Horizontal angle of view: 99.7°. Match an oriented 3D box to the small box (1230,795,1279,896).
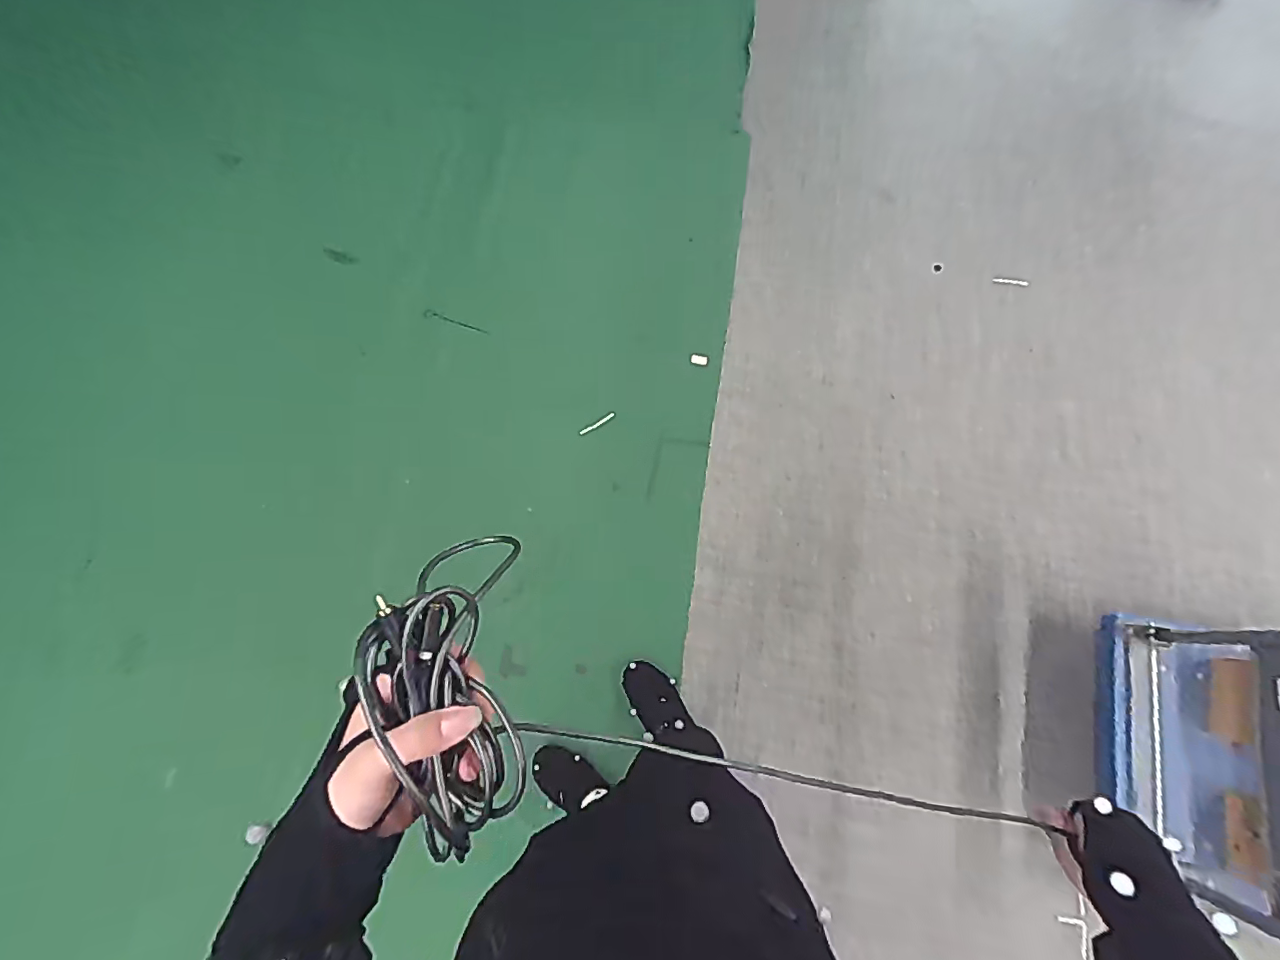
[{"bbox_3d":[1.331,0.743,1.056,0.179,0.176,0.168,12,75,6],"label":"small box"}]
